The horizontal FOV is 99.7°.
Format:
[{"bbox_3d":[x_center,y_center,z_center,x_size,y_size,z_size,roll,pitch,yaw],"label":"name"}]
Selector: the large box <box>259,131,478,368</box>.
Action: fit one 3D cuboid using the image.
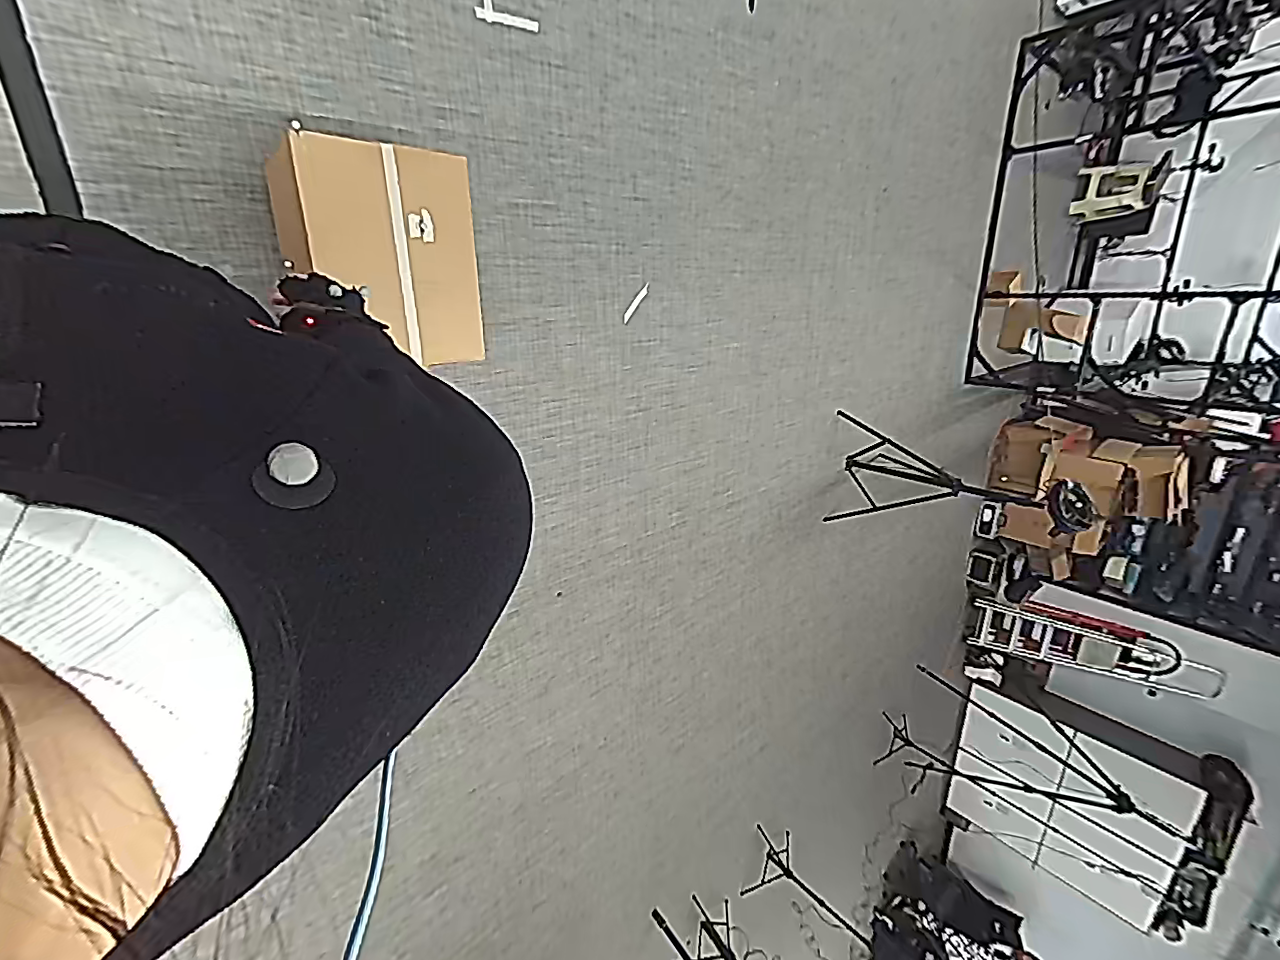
[{"bbox_3d":[-0.583,-0.466,1.173,0.320,0.320,0.408,-16,113,-39],"label":"large box"}]
